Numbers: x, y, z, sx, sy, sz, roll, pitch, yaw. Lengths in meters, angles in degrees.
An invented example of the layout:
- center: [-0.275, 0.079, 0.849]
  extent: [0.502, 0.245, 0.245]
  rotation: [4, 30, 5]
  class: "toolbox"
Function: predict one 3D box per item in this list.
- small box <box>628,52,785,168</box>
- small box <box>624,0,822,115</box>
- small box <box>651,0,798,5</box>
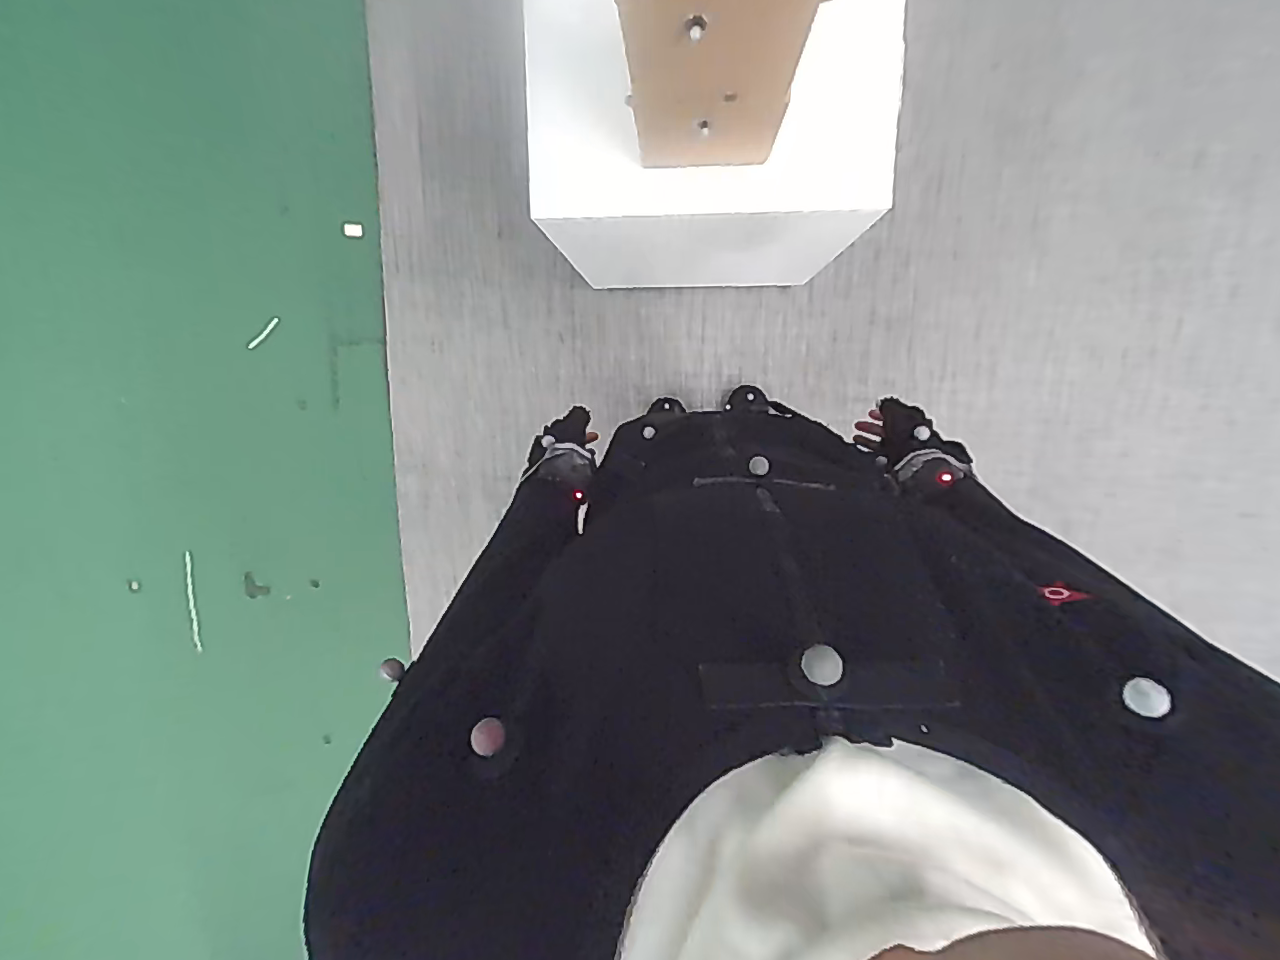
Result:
- center: [0.080, -0.506, 0.670]
  extent: [0.179, 0.176, 0.168]
  rotation: [0, 100, 4]
  class: "small box"
- center: [0.070, -0.484, 0.511]
  extent: [0.168, 0.176, 0.179]
  rotation: [-1, 100, 4]
  class: "small box"
- center: [0.060, -0.452, 0.347]
  extent: [0.179, 0.176, 0.168]
  rotation: [3, 100, 4]
  class: "small box"
